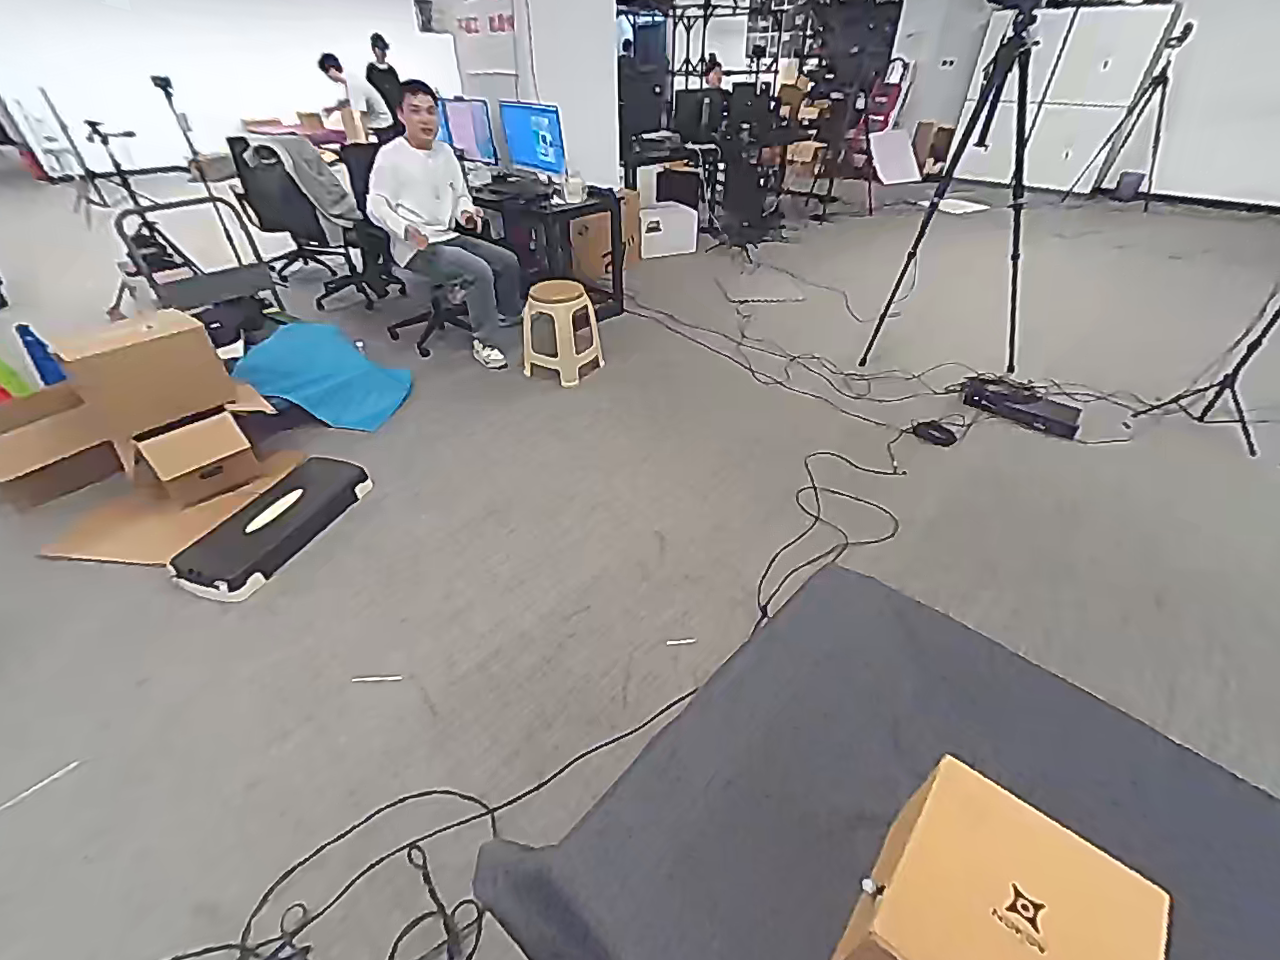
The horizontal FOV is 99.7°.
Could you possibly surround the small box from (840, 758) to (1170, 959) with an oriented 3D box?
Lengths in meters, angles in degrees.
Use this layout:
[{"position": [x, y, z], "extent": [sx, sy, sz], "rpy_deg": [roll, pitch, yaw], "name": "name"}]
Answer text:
[{"position": [0.292, 0.390, 0.458], "extent": [0.168, 0.176, 0.179], "rpy_deg": [28, 46, 31], "name": "small box"}]
